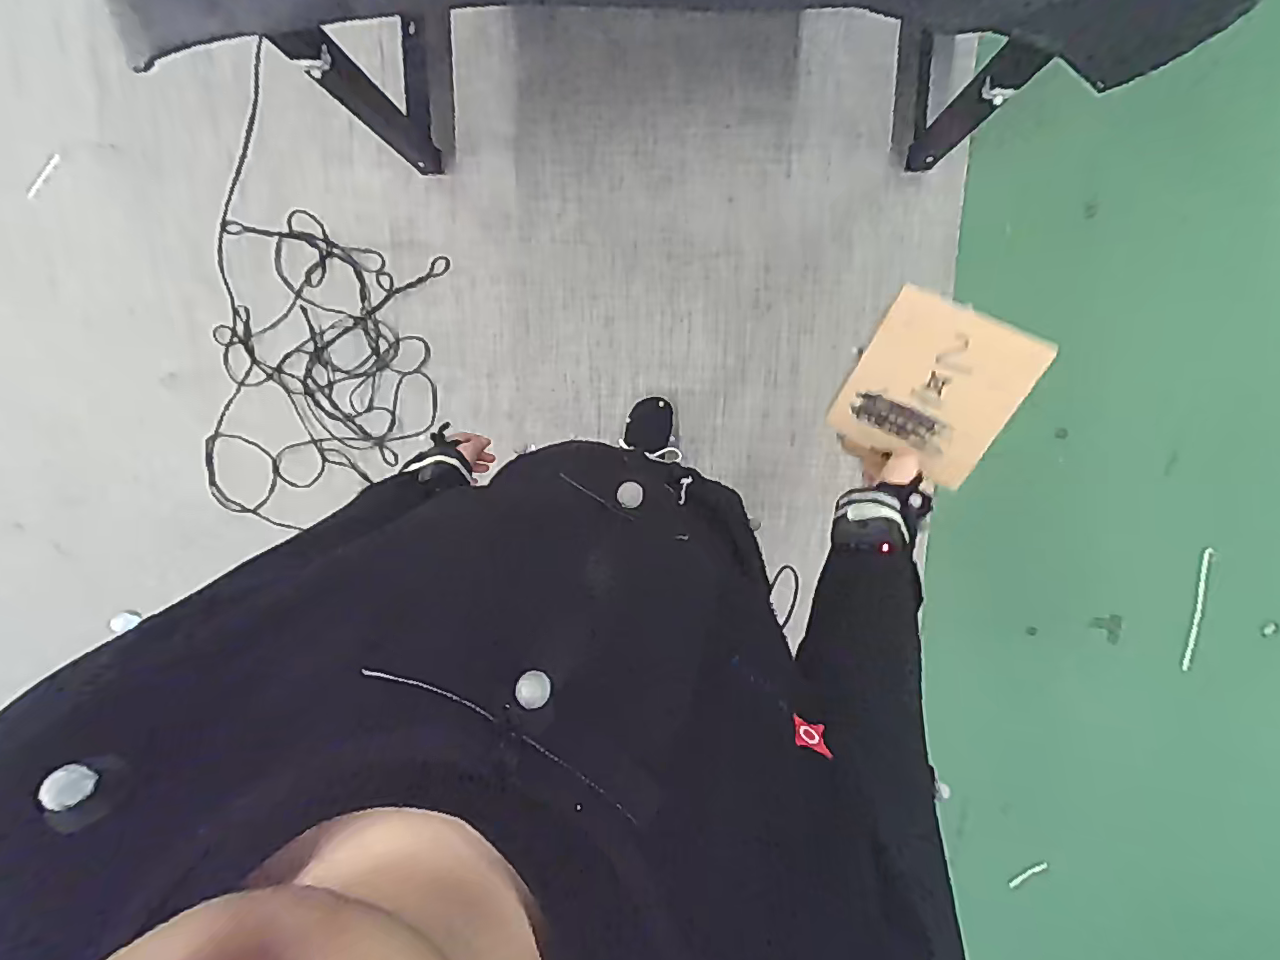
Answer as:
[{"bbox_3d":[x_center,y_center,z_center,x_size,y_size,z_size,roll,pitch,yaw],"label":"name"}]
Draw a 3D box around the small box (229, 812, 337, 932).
[{"bbox_3d":[-0.974,1.070,1.488,0.168,0.176,0.179,21,99,1],"label":"small box"}]
